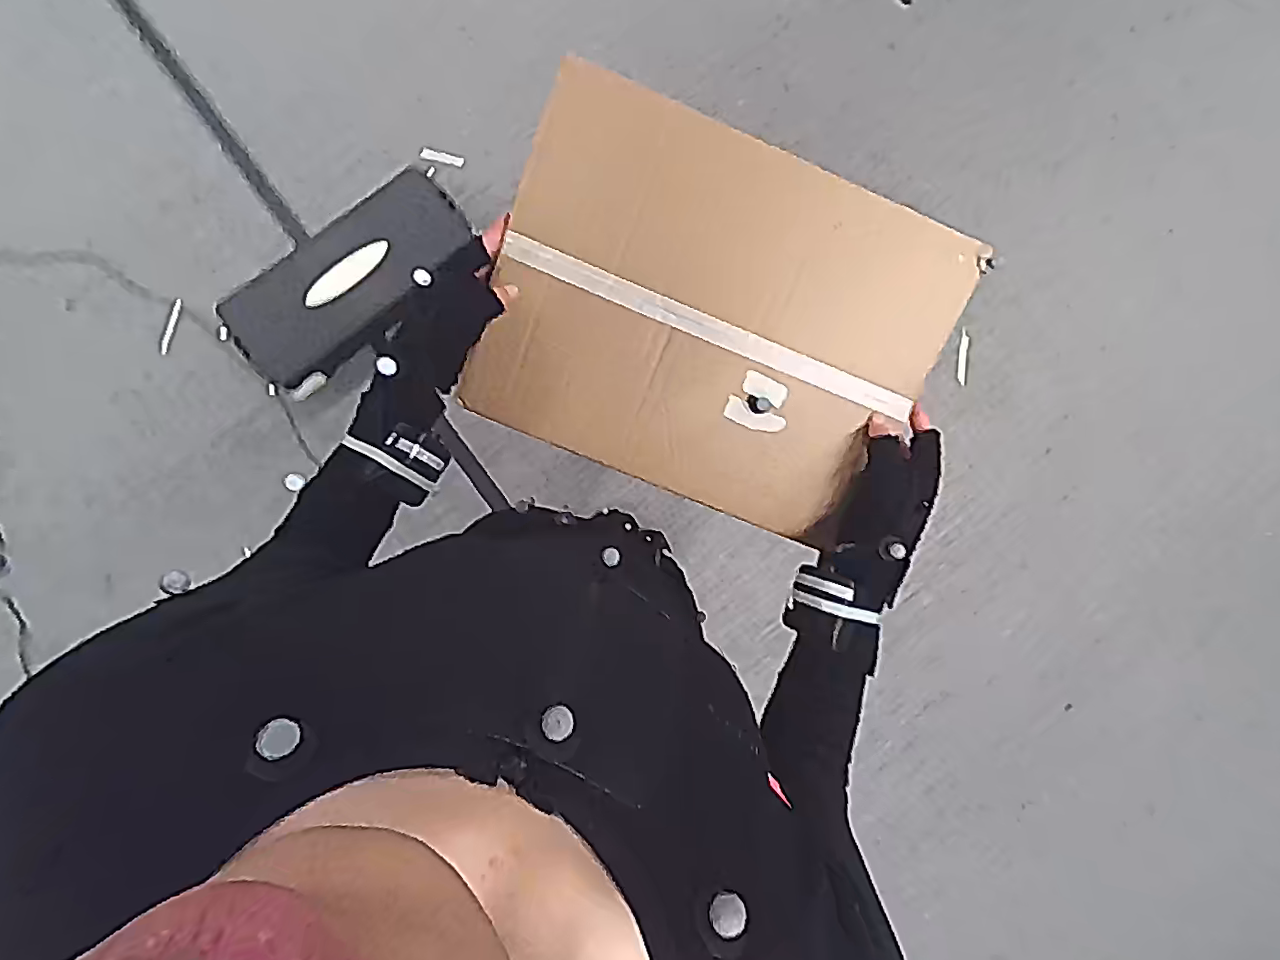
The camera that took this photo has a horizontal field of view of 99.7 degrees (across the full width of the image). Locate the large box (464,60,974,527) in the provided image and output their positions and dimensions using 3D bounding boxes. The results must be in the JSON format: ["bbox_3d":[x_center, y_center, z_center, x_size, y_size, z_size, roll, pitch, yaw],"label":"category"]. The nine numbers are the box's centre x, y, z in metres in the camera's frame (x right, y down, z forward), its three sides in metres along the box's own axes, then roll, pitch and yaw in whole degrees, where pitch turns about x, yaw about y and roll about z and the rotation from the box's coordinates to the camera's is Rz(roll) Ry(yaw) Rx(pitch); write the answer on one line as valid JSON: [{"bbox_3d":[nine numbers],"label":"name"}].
[{"bbox_3d":[0.062,-0.187,0.645,0.408,0.320,0.320,20,104,-6],"label":"large box"}]
